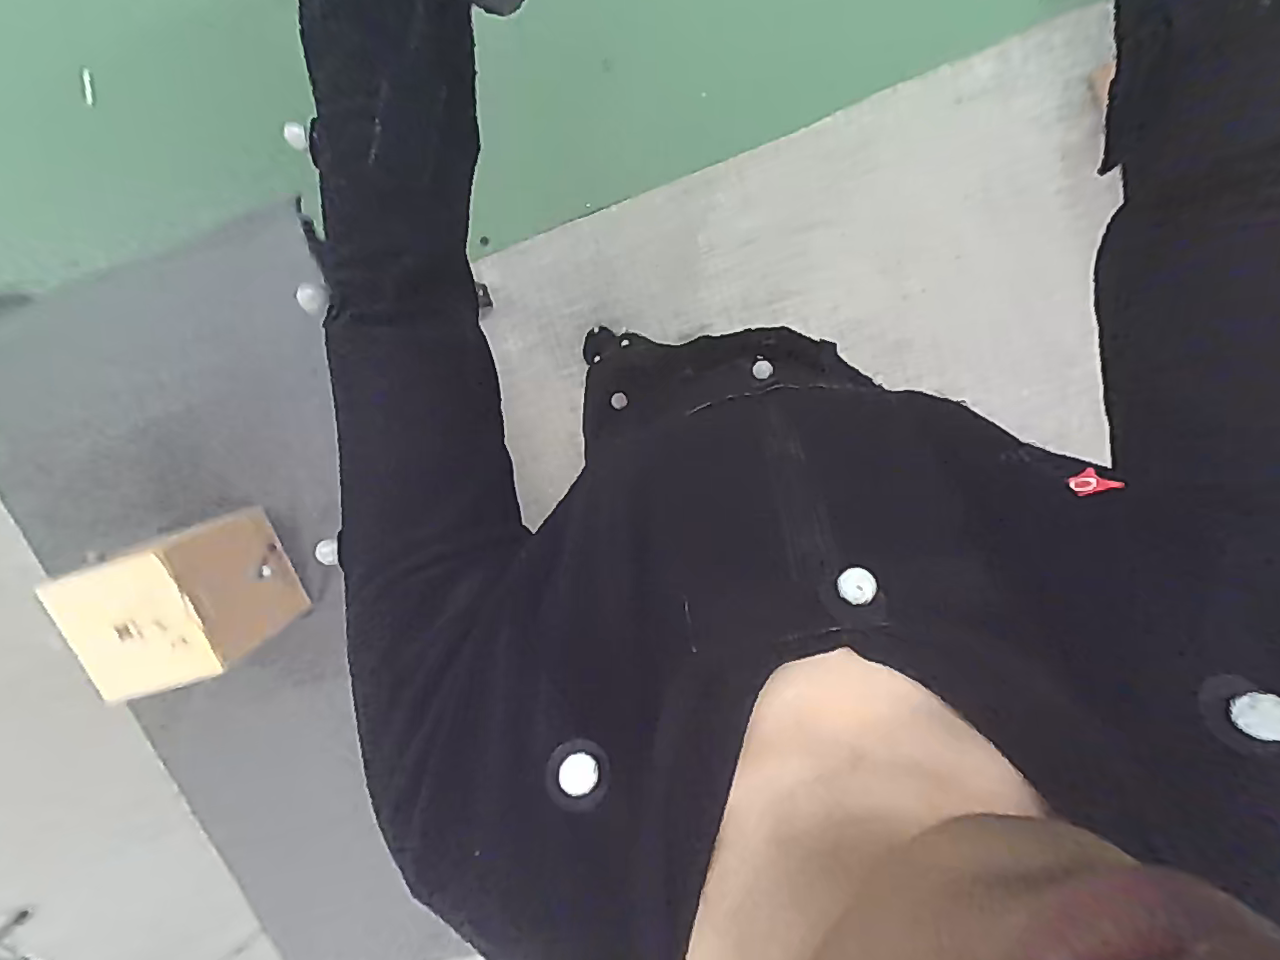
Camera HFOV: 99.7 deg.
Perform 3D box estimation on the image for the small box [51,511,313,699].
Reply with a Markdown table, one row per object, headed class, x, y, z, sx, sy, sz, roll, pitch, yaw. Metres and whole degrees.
| class | x | y | z | sx | sy | sz | roll | pitch | yaw |
| --- | --- | --- | --- | --- | --- | --- | --- | --- | --- |
| small box | -0.594 | 0.159 | 0.727 | 0.179 | 0.176 | 0.168 | -16 | 103 | 7 |
